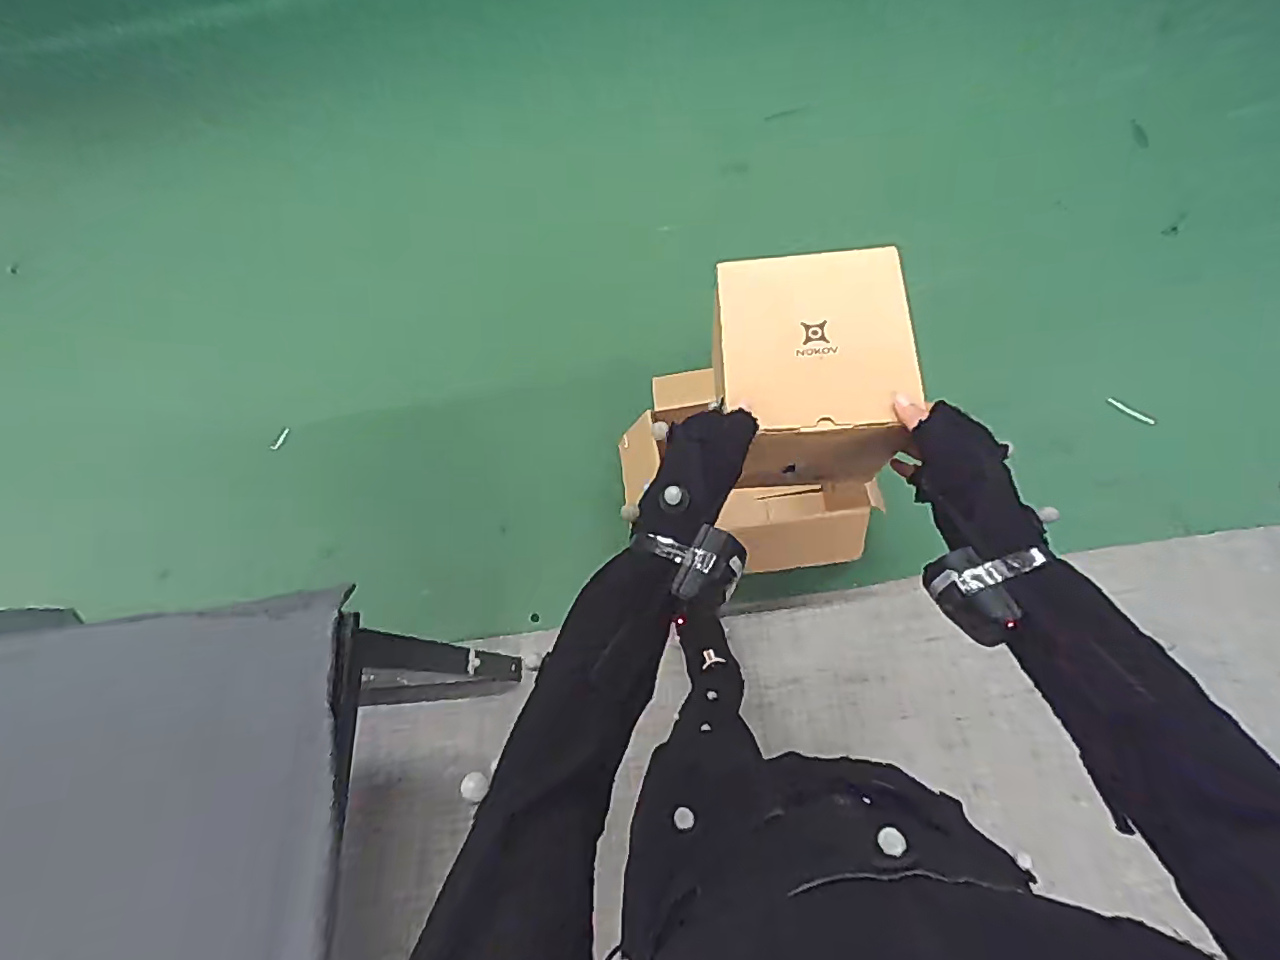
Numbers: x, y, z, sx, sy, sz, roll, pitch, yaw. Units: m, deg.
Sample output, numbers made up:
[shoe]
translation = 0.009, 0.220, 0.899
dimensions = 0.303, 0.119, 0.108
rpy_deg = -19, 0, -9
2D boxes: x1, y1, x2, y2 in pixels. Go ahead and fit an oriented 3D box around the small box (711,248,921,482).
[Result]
[small box]
translation = 0.162, -0.107, 0.559
dimensions = 0.168, 0.176, 0.179
rpy_deg = -3, 74, 6
